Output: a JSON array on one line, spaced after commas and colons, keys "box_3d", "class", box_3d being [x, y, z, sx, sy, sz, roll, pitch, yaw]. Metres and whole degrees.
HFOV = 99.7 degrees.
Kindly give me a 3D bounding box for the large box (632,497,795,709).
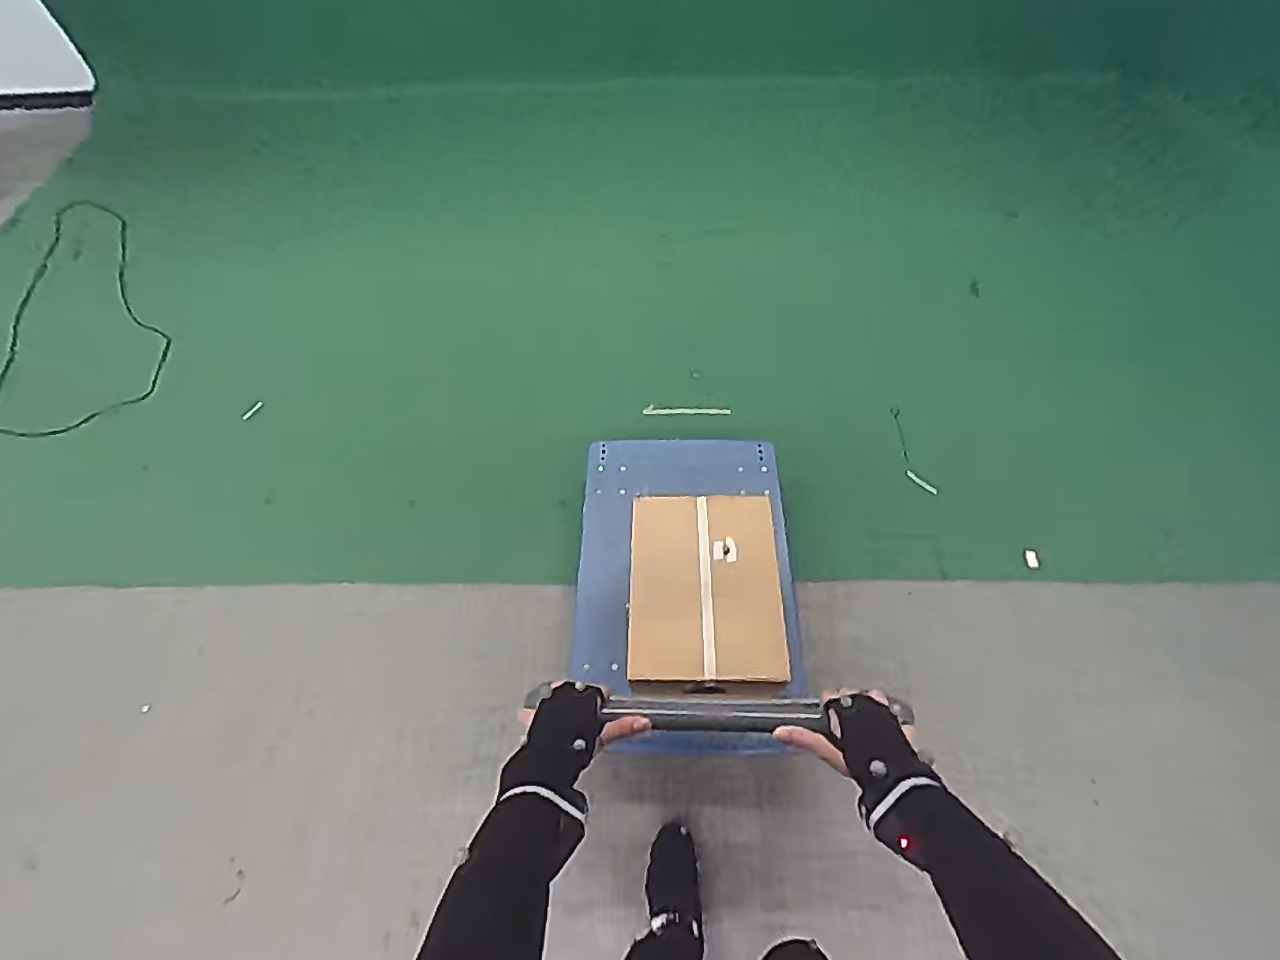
[{"box_3d": [0.147, 0.289, 1.246, 0.320, 0.320, 0.408, 0, 58, 2], "class": "large box"}]
